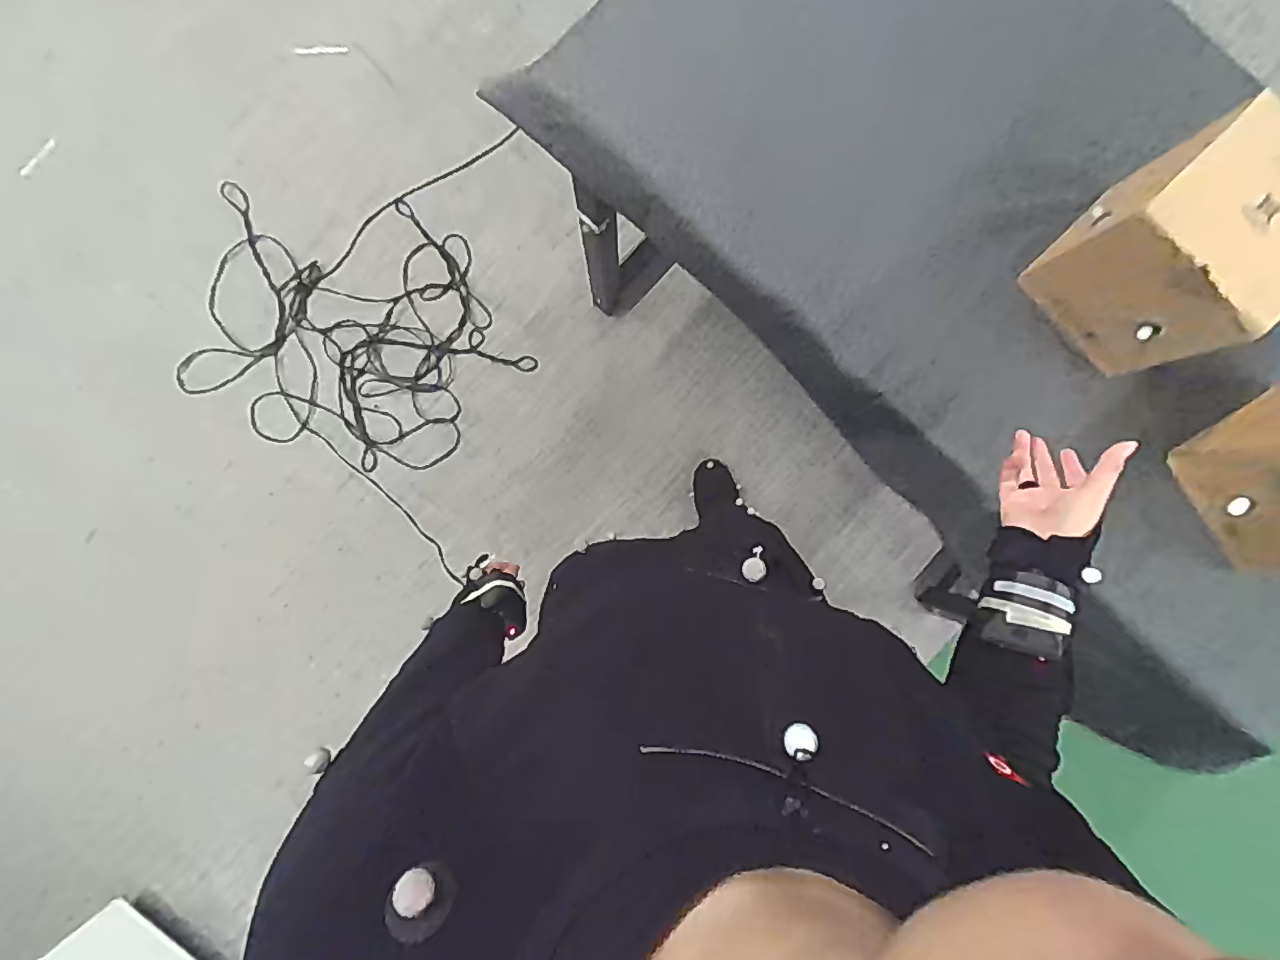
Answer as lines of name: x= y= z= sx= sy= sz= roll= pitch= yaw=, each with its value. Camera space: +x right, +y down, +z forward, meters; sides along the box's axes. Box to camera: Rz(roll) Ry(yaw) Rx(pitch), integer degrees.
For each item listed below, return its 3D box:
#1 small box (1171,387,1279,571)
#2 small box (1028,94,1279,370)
small box: x=0.755 y=-0.009 z=0.582 sx=0.179 sy=0.176 sz=0.168 roll=-31 pitch=89 yaw=-2
small box: x=0.575 y=-0.246 z=0.586 sx=0.179 sy=0.176 sz=0.168 roll=-44 pitch=91 yaw=-4
